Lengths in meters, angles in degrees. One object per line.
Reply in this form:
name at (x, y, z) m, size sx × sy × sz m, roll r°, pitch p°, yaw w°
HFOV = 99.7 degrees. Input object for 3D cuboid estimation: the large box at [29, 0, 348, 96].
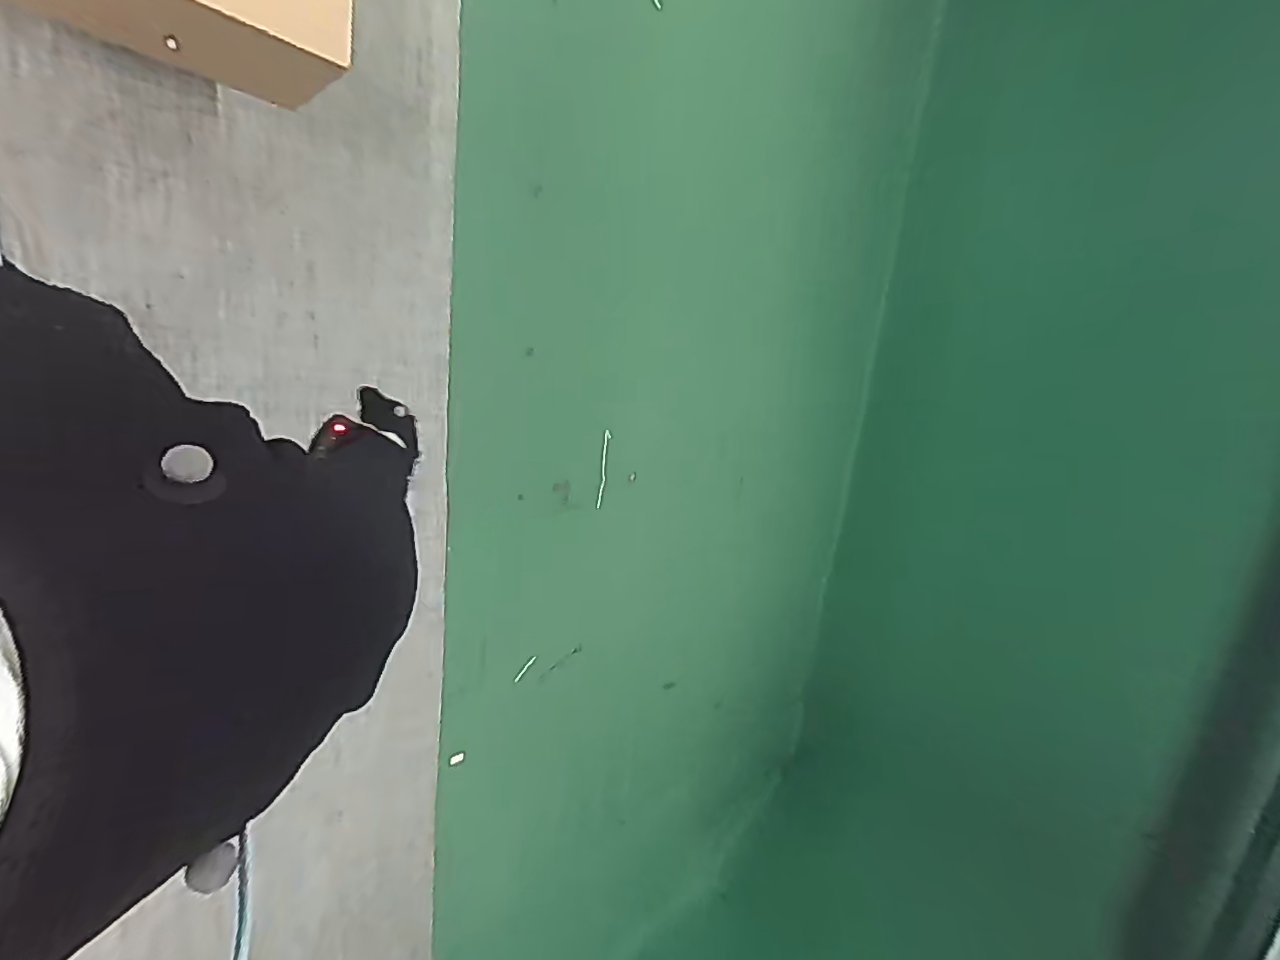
large box at (-0.692, -0.840, 0.790) m, size 0.408 × 0.320 × 0.320 m, roll -5°, pitch 108°, yaw -46°
